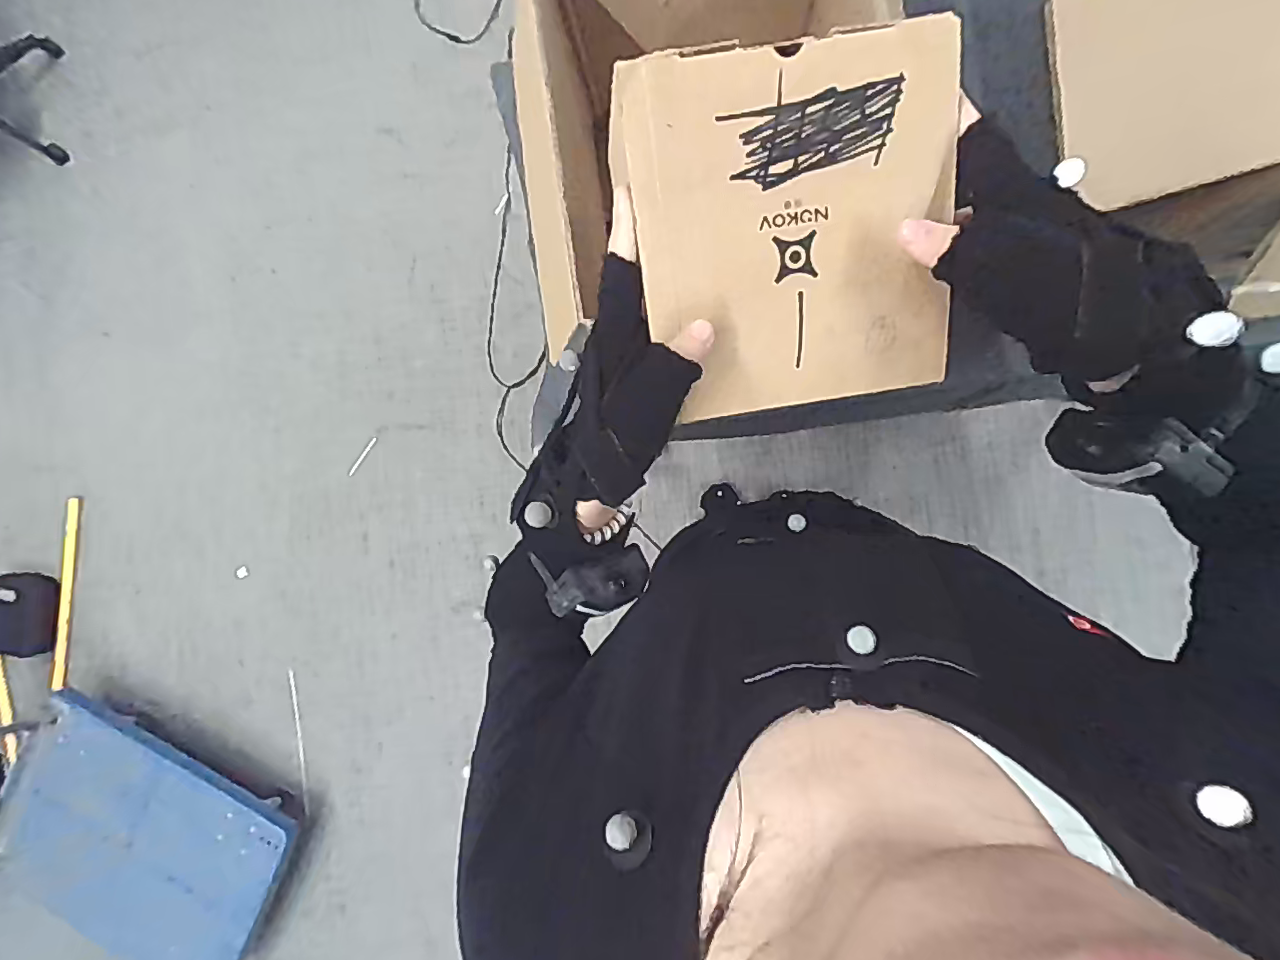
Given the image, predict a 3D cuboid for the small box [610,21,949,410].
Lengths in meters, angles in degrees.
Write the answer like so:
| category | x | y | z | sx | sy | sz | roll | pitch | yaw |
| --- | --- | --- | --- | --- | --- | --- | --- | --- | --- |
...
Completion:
| category | x | y | z | sx | sy | sz | roll | pitch | yaw |
| --- | --- | --- | --- | --- | --- | --- | --- | --- | --- |
| small box | 0.073 | -0.156 | 0.362 | 0.168 | 0.176 | 0.179 | -8 | 109 | -2 |
